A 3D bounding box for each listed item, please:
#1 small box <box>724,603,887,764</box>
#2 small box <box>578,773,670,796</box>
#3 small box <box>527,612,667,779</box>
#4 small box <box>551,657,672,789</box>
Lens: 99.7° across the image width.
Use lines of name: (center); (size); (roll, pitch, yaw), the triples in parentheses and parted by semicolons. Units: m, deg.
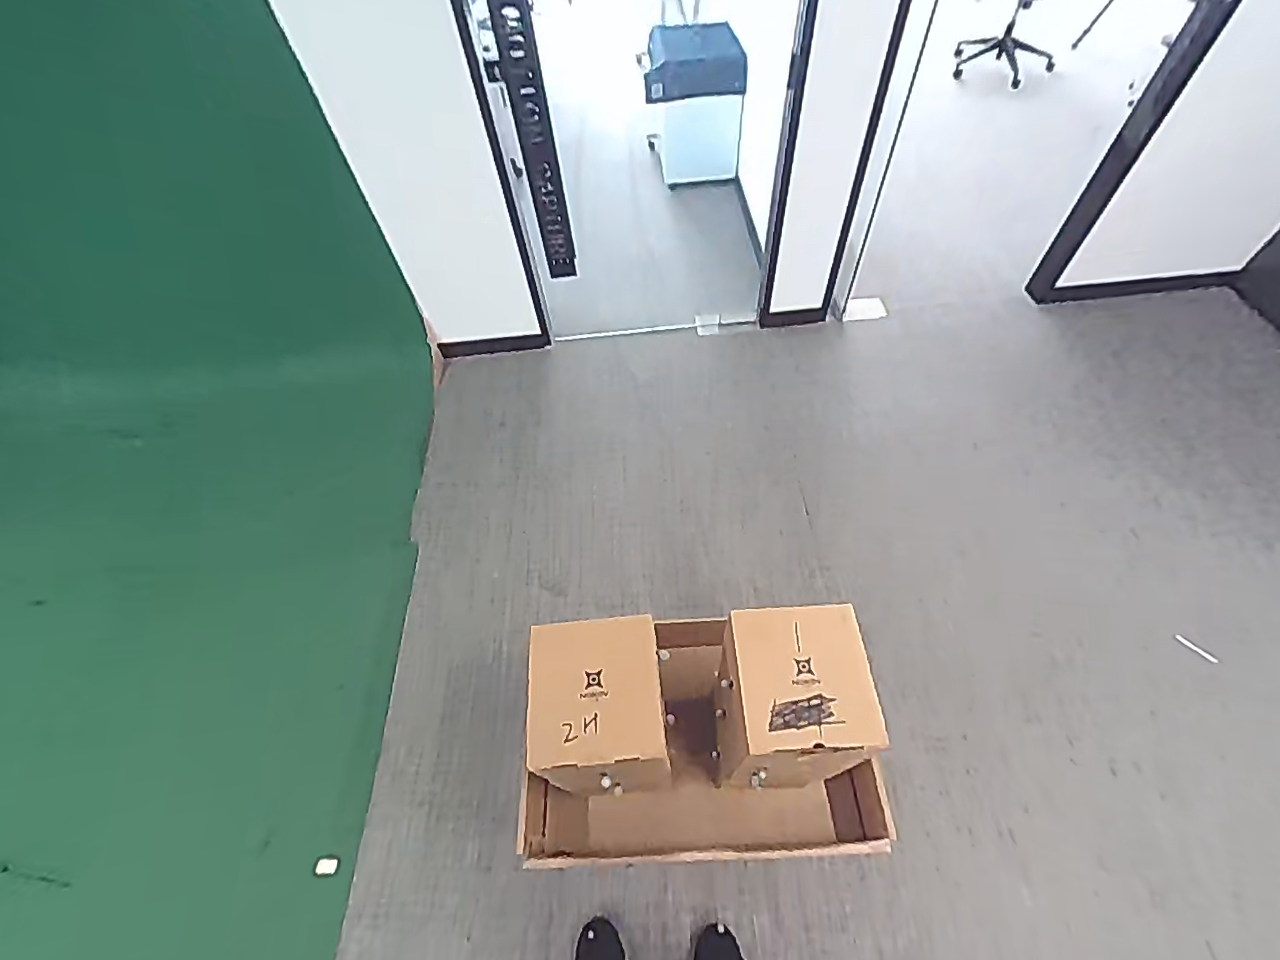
small box: (0.209, 0.283, 0.737); (0.168, 0.176, 0.179); (-3, 55, 2)
small box: (-0.036, 0.488, 1.014); (0.179, 0.176, 0.168); (-3, 55, 0)
small box: (-0.052, 0.299, 0.744); (0.168, 0.176, 0.179); (-6, 56, 1)
small box: (-0.044, 0.396, 0.879); (0.179, 0.176, 0.168); (-5, 55, -1)
